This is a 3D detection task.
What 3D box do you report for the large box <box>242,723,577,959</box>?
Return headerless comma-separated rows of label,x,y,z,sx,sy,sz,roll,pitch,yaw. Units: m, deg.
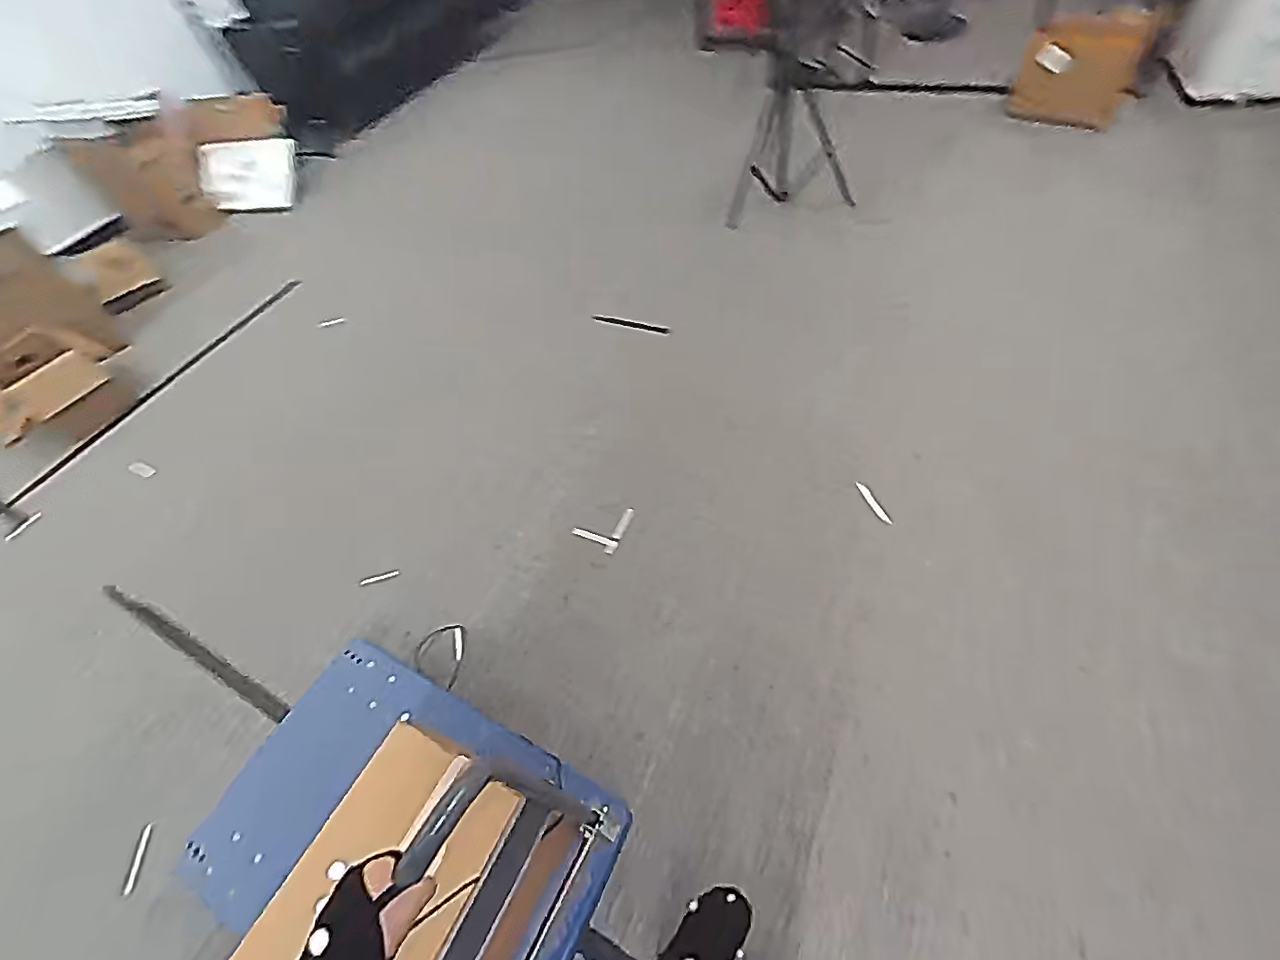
large box,-0.372,0.736,0.975,0.320,0.320,0.408,20,58,23
